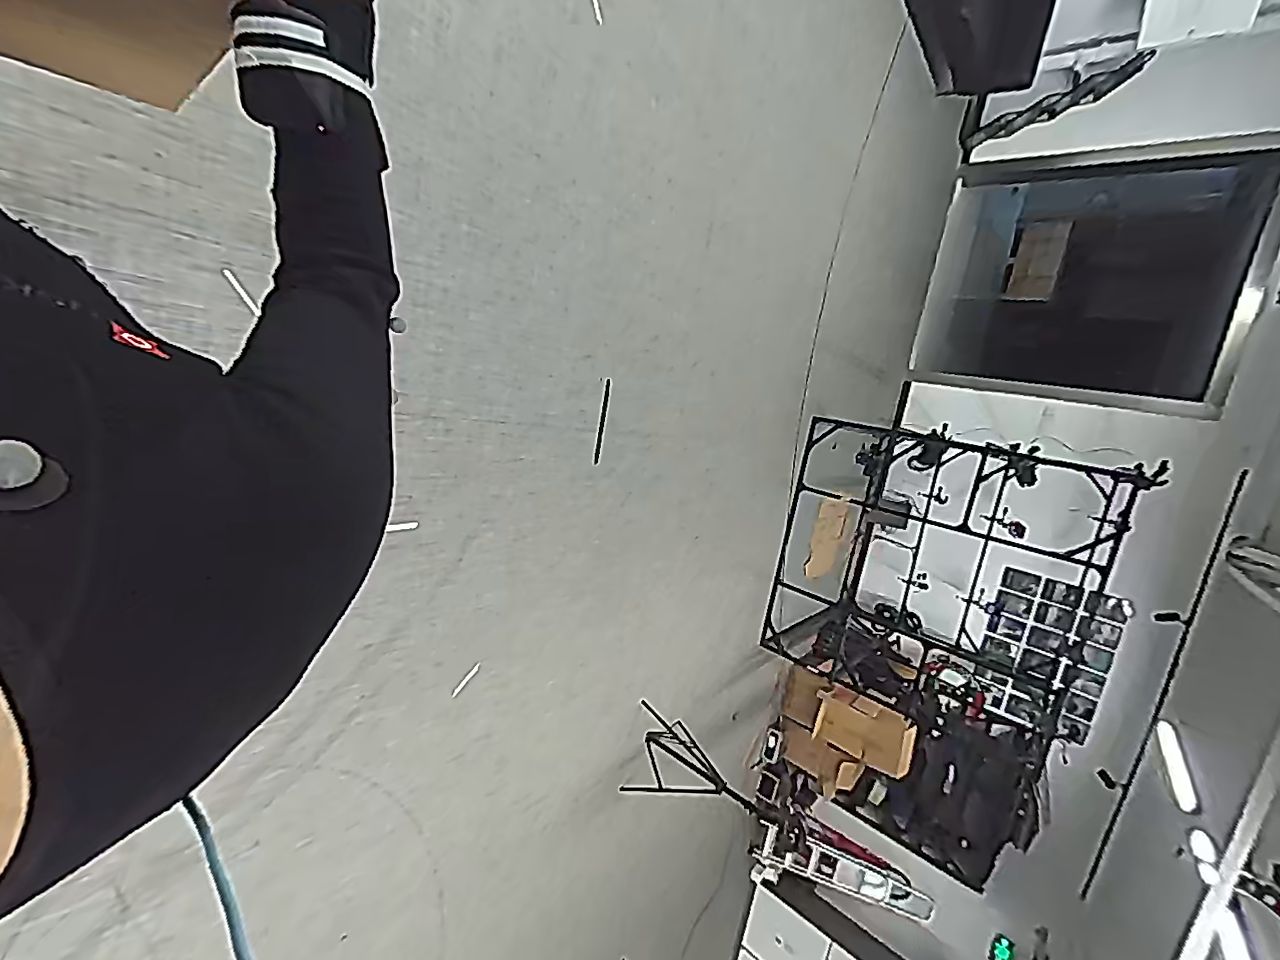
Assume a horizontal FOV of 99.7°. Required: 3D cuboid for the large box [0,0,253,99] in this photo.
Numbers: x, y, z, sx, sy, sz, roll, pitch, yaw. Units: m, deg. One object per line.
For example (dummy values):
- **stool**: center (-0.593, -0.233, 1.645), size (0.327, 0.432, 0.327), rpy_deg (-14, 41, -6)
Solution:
- **large box**: center (-0.462, -0.469, 0.258), size (0.408, 0.320, 0.320), rpy_deg (-8, 107, -50)
